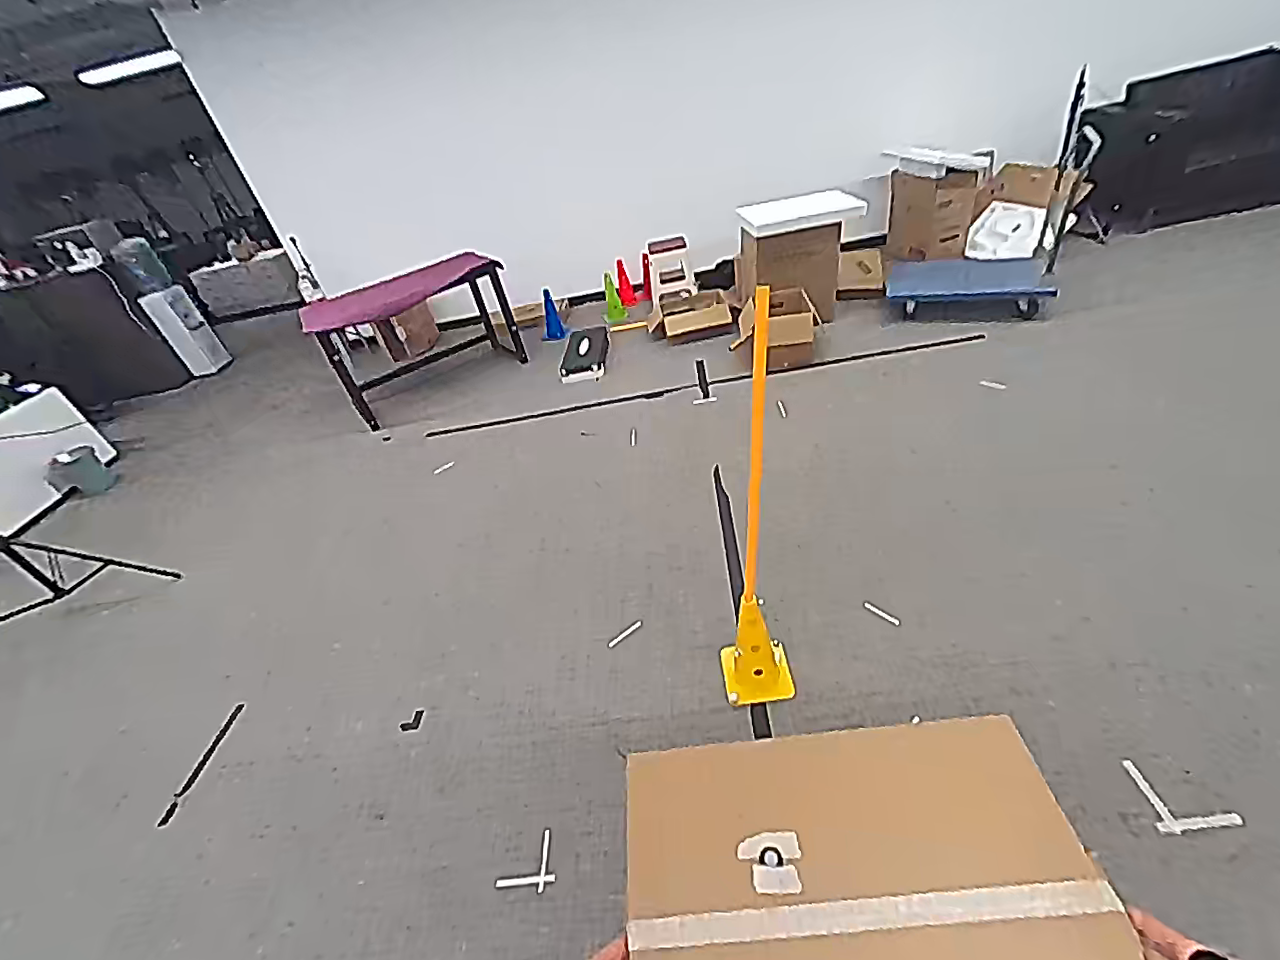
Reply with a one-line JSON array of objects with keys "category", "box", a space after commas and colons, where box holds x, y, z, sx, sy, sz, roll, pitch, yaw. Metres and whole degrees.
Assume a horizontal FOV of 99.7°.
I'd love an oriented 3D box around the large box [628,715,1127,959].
[{"category": "large box", "box": [0.218, 0.493, 0.574, 0.408, 0.320, 0.320, -10, 40, 5]}]
